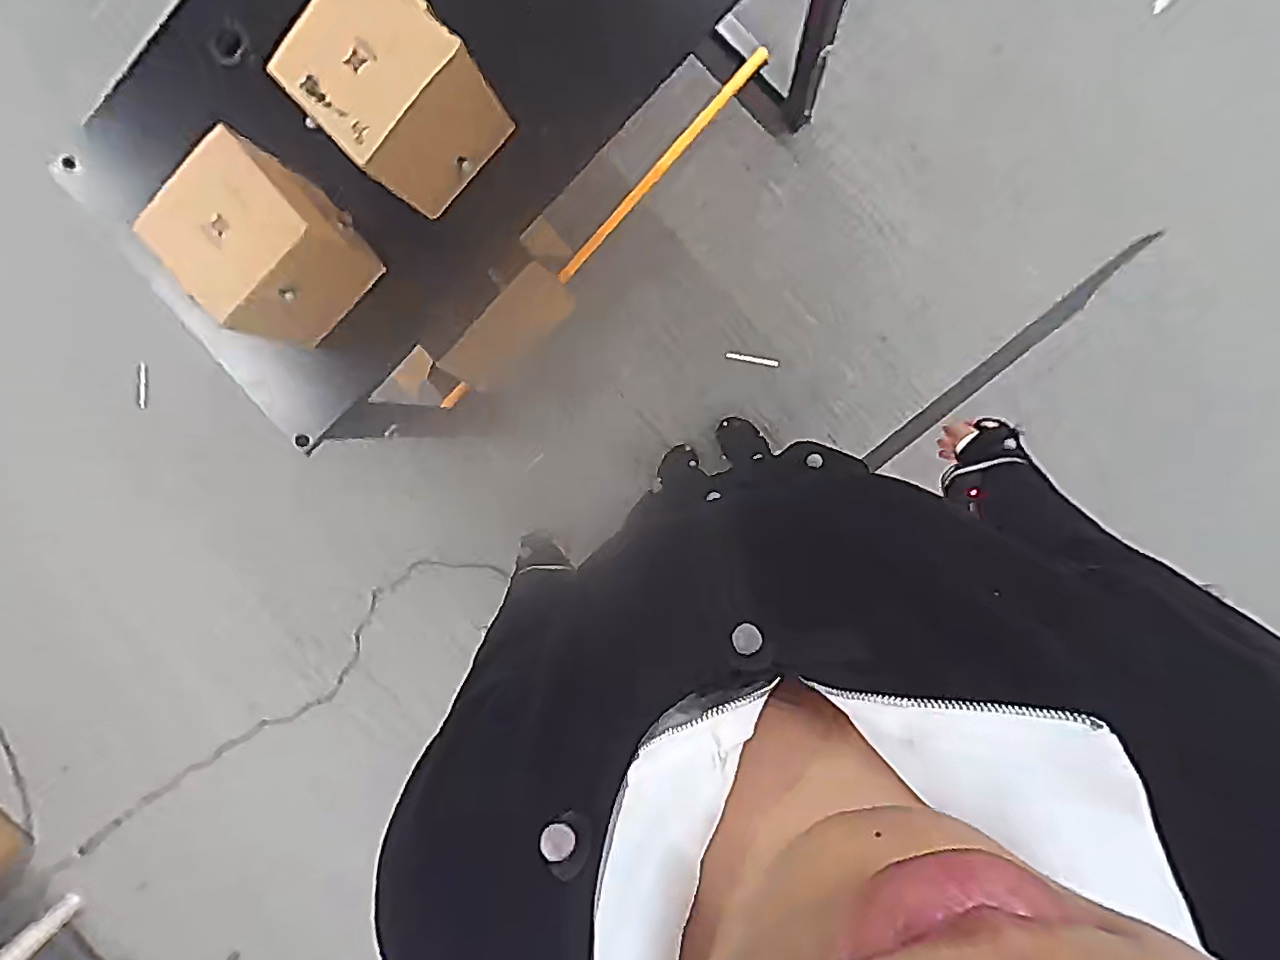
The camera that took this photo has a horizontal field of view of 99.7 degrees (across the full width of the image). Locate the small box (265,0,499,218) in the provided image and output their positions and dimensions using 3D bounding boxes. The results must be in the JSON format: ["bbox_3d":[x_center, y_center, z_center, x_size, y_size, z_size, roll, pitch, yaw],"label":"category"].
[{"bbox_3d":[-0.302,-0.477,0.680,0.179,0.176,0.168,-44,89,8],"label":"small box"}]

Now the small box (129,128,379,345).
[{"bbox_3d":[-0.495,-0.303,0.721,0.179,0.176,0.168,-42,90,8],"label":"small box"}]
